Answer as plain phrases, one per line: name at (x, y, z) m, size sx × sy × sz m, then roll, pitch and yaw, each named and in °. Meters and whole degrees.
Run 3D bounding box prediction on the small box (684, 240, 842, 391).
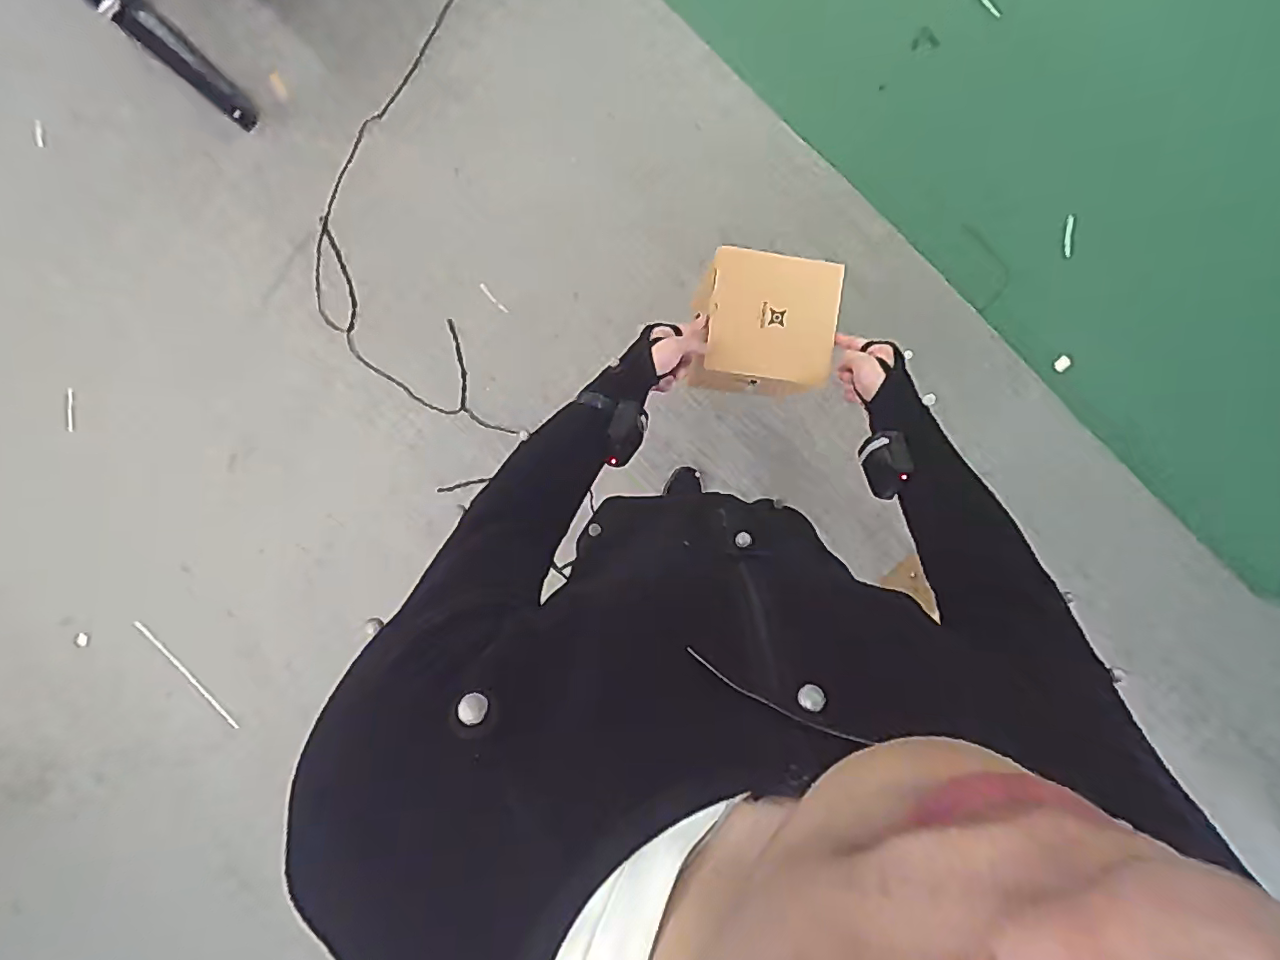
small box at (0.170, -0.227, 0.794) m, size 0.179 × 0.176 × 0.168 m, roll 6°, pitch 92°, yaw -3°
